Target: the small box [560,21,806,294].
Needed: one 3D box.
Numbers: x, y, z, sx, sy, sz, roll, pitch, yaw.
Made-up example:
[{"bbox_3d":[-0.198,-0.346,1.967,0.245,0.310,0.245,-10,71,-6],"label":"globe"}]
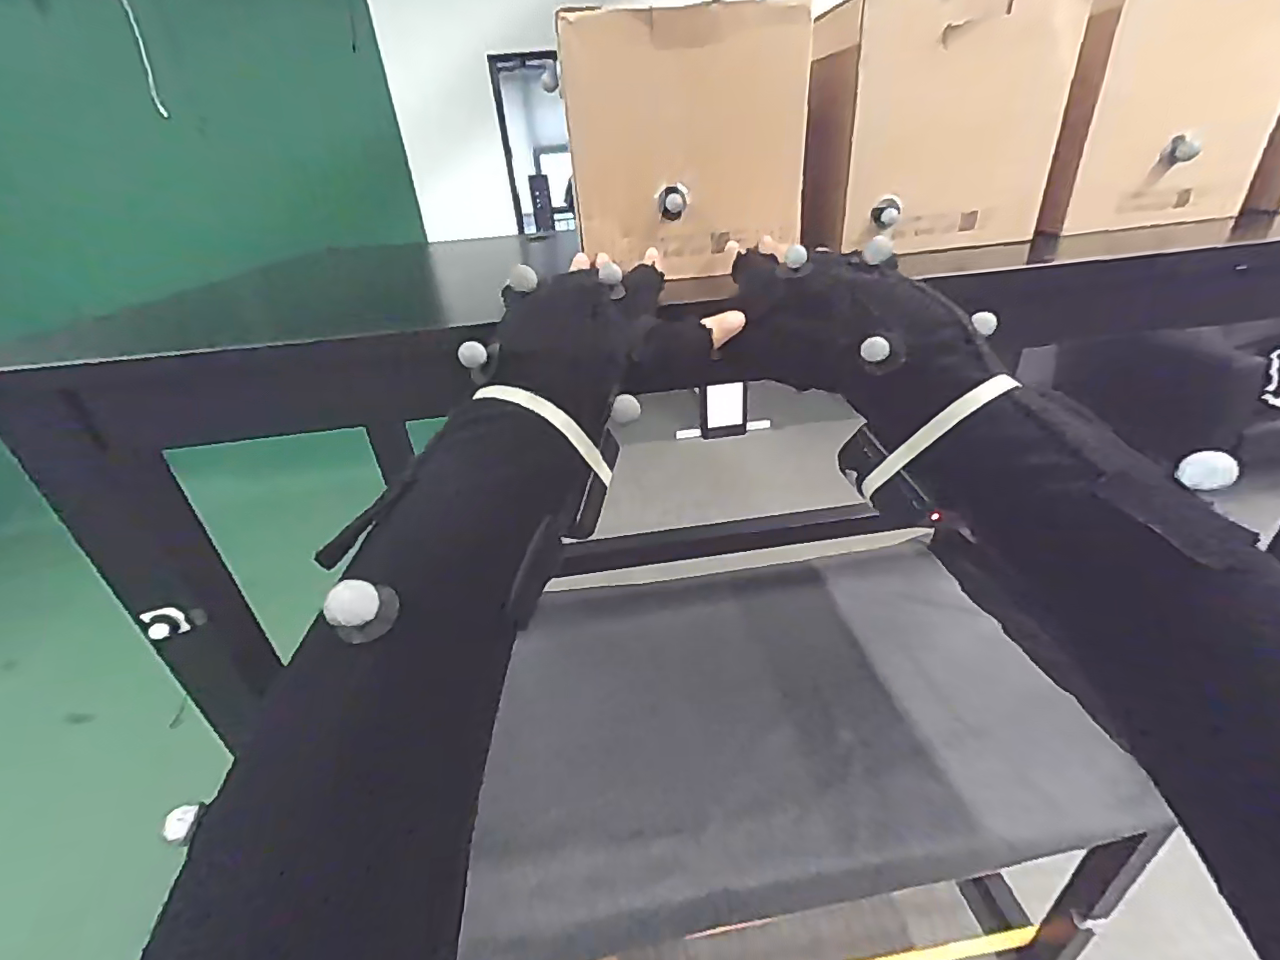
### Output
[{"bbox_3d":[0.026,-0.261,0.463,0.168,0.176,0.179,-7,29,-3],"label":"small box"}]
